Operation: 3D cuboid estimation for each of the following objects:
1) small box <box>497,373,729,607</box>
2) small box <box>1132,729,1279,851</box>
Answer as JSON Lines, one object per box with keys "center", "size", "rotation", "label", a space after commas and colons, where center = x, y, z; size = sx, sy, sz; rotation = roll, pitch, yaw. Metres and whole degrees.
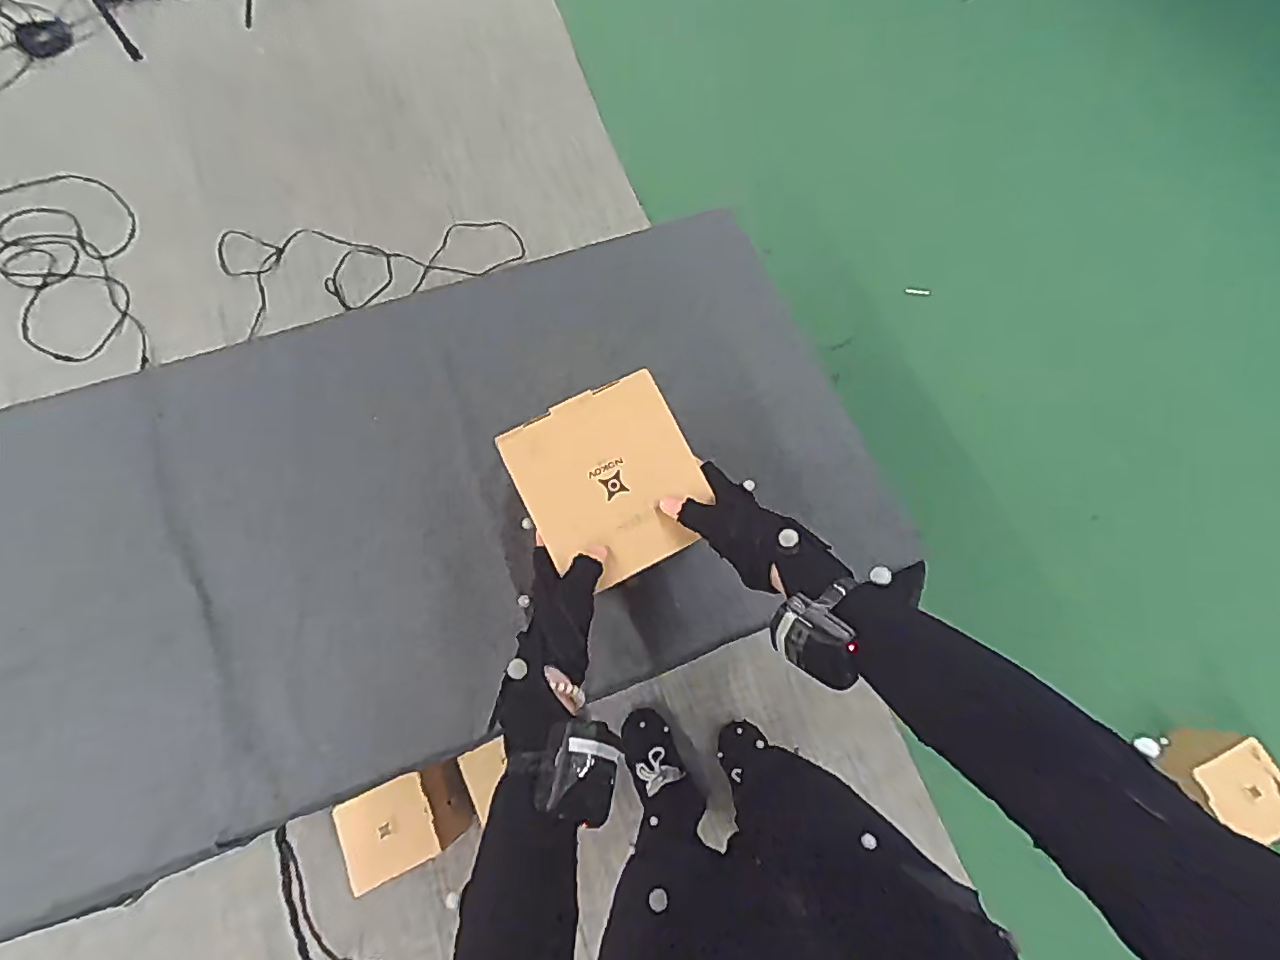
{"center": [-0.032, 0.017, 0.580], "size": [0.168, 0.176, 0.179], "rotation": [-26, 85, -7], "label": "small box"}
{"center": [1.245, 0.667, 1.184], "size": [0.179, 0.176, 0.168], "rotation": [-21, 73, -7], "label": "small box"}
